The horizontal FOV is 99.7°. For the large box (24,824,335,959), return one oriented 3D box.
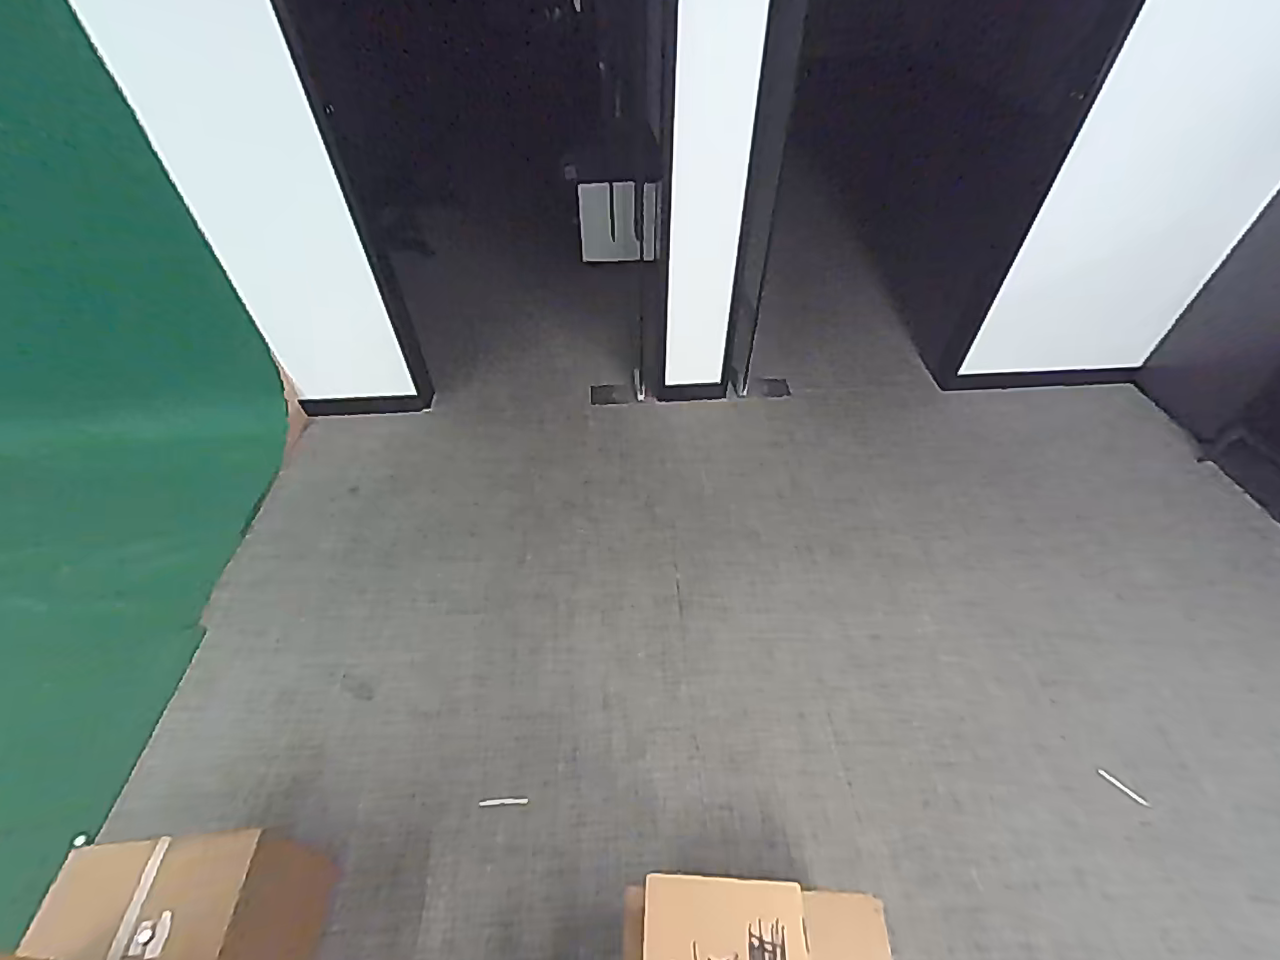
[{"bbox_3d":[-0.779,0.855,0.899,0.320,0.320,0.408,-3,45,-3],"label":"large box"}]

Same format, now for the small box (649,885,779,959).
[{"bbox_3d":[0.096,0.673,0.731,0.168,0.176,0.179,2,44,1],"label":"small box"}]
